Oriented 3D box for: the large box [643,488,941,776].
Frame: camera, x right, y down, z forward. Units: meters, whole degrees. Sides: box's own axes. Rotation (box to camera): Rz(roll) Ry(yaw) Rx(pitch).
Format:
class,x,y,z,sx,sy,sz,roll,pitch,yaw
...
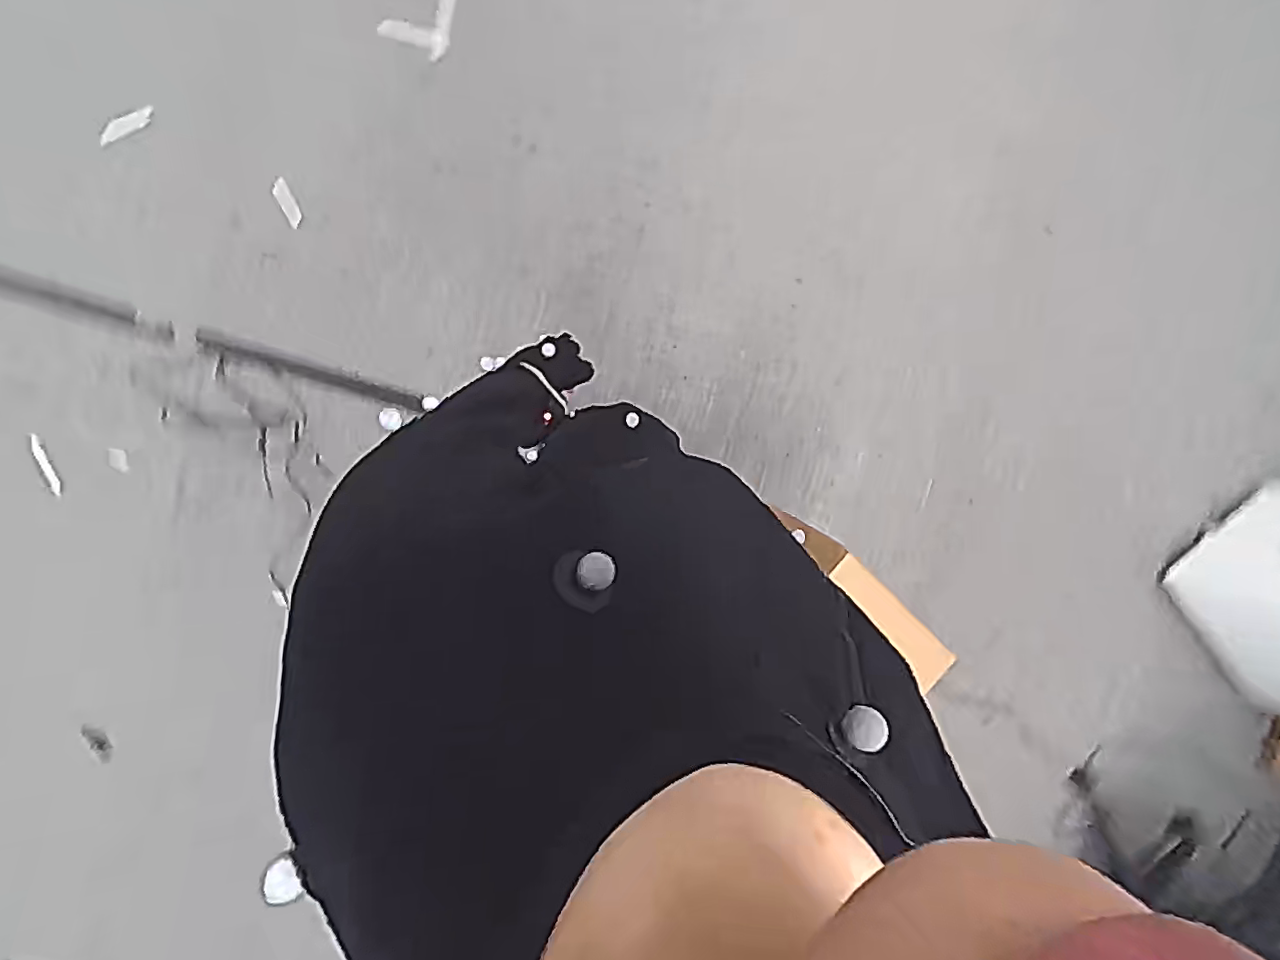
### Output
class,x,y,z,sx,sy,sz,roll,pitch,yaw
large box,0.262,0.262,1.045,0.320,0.408,0.320,40,90,-19
